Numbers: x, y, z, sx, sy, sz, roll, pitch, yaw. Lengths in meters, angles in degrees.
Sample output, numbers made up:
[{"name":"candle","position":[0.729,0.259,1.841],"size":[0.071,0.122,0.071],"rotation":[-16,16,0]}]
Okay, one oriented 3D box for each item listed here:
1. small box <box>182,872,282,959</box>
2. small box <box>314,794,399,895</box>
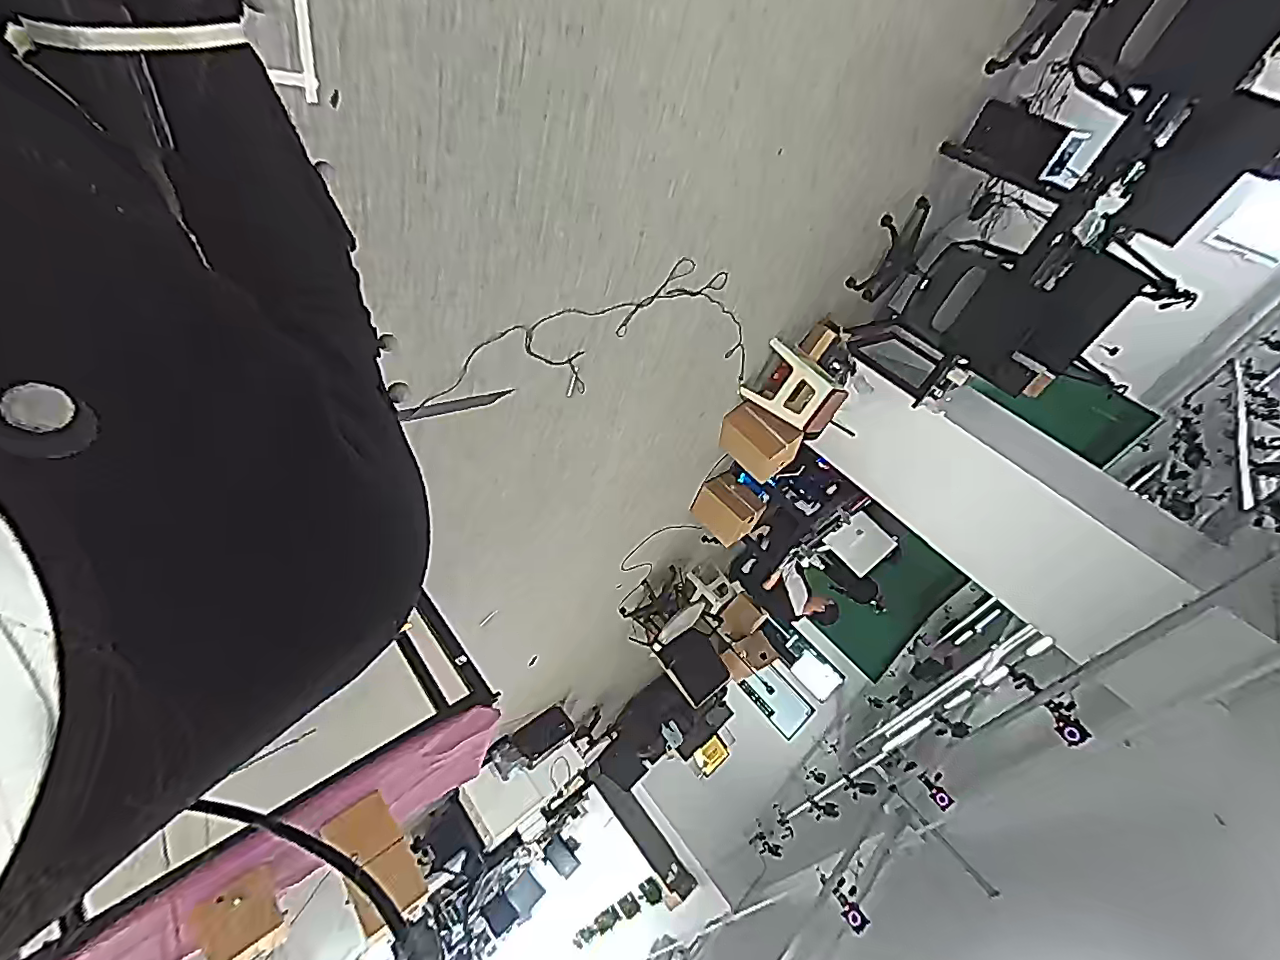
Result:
[{"name":"small box","position":[-1.072,1.184,1.425],"size":[0.168,0.176,0.179],"rotation":[-21,146,-43]},{"name":"small box","position":[-0.854,1.093,1.632],"size":[0.179,0.176,0.168],"rotation":[-21,147,-41]}]
